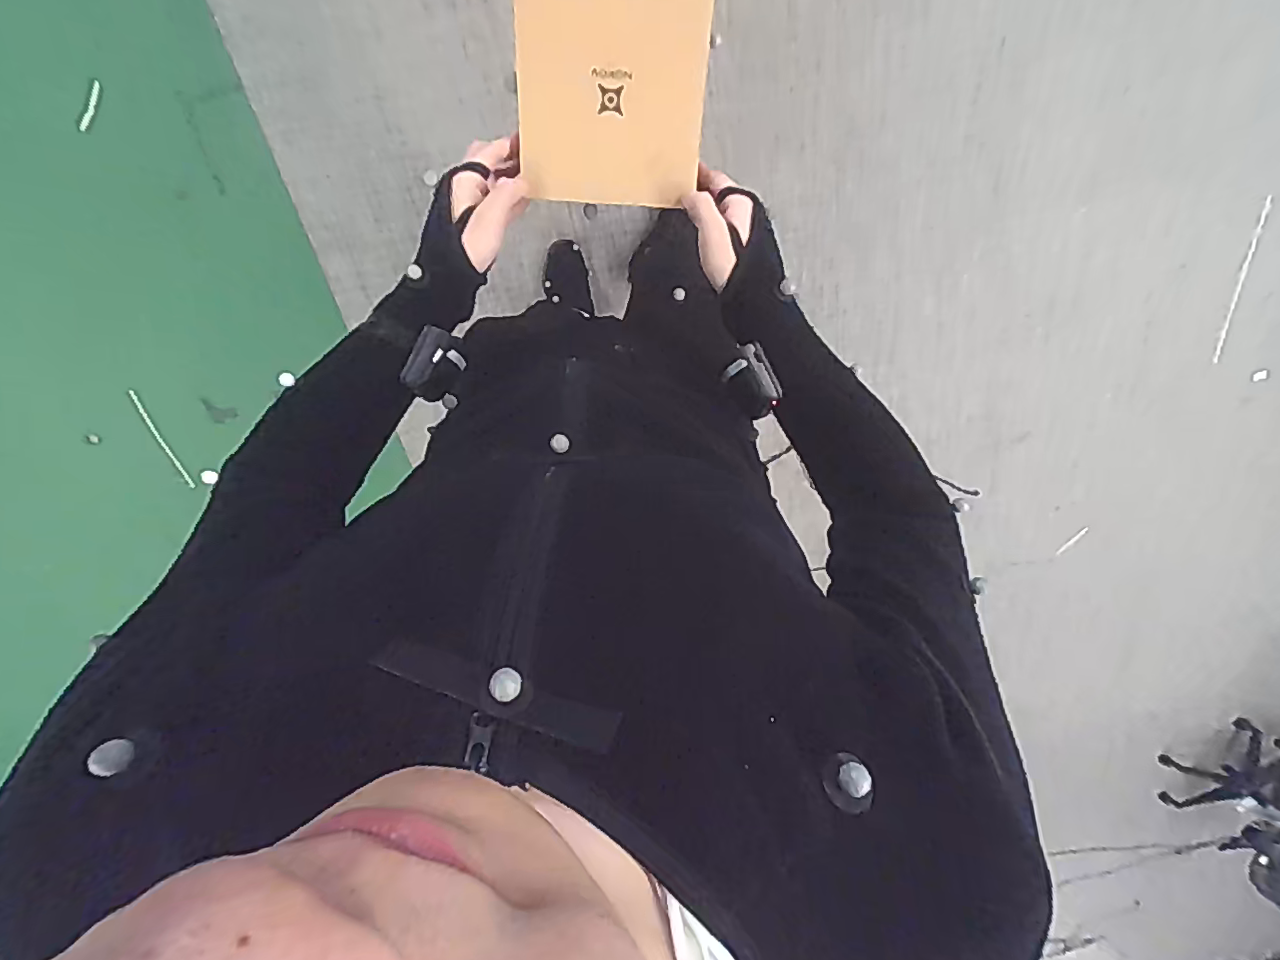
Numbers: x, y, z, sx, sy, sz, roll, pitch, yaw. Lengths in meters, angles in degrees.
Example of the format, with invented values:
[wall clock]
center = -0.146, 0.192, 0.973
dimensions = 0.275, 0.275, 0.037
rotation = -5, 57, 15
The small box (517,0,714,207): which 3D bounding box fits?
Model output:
[small box]
center = -0.024, -0.378, 0.543
dimensions = 0.168, 0.176, 0.179
rotation = 3, 116, -2
